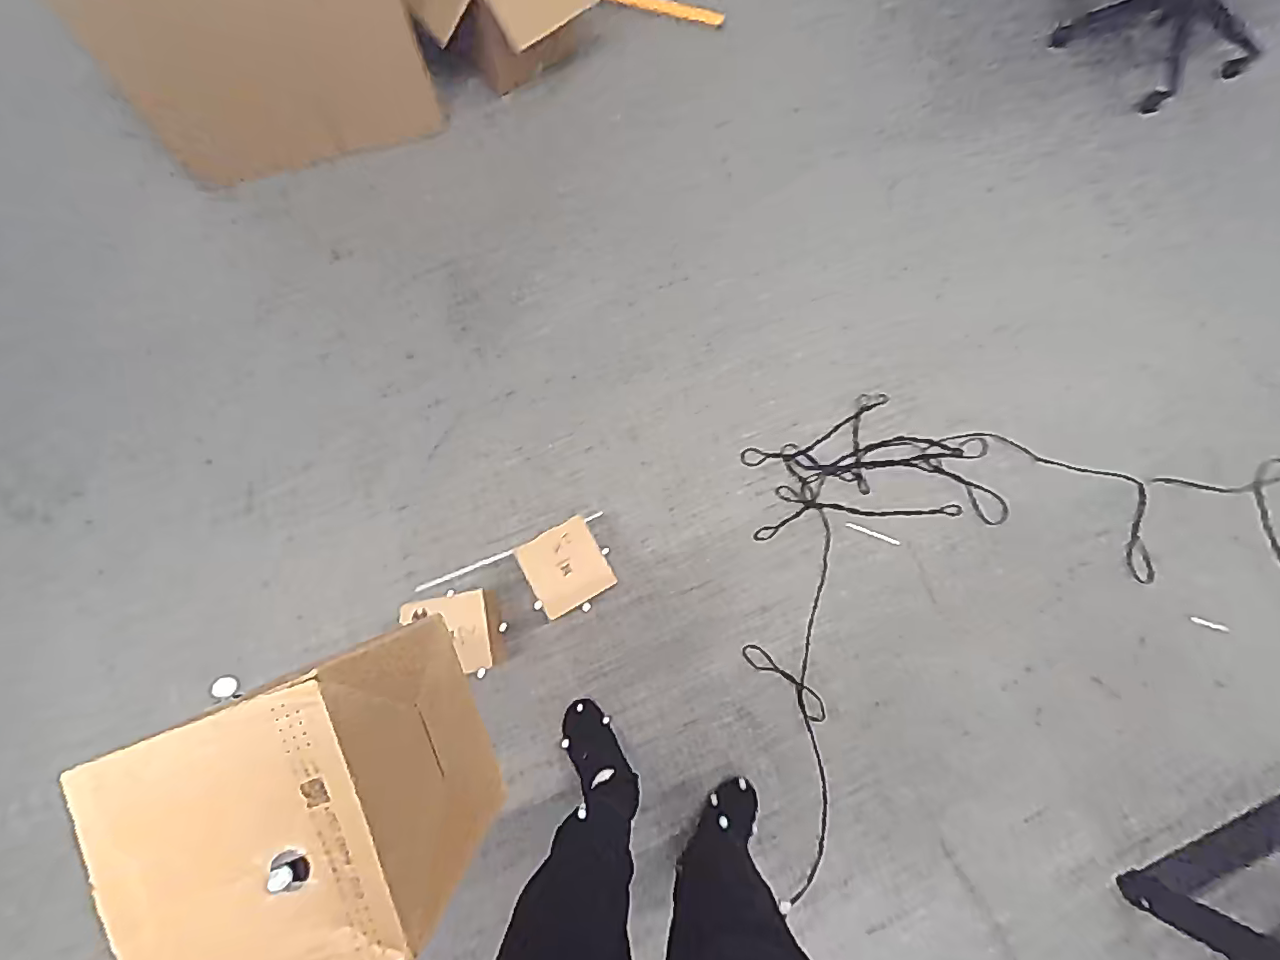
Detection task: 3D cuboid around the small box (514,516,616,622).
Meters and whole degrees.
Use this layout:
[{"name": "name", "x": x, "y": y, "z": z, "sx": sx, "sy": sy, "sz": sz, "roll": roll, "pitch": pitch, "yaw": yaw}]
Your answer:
[{"name": "small box", "x": -0.164, "y": 0.206, "z": 1.238, "sx": 0.168, "sy": 0.176, "sz": 0.179, "roll": -29, "pitch": 79, "yaw": -9}]
